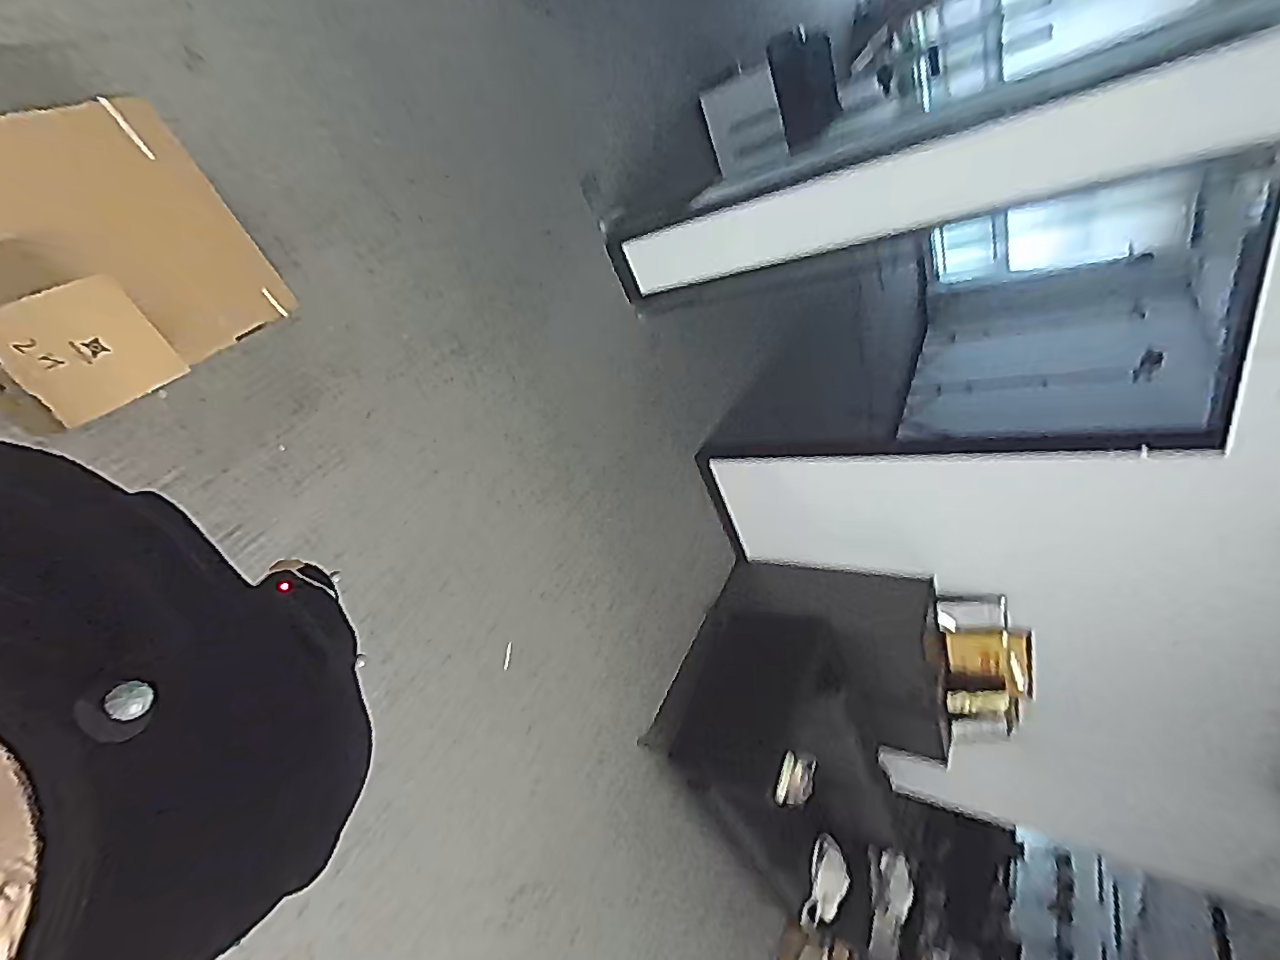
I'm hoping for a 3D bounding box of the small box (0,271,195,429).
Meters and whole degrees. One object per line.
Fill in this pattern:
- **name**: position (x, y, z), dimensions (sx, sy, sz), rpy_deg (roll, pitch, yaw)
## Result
- **small box**: position (-0.846, -0.192, 0.819), dimensions (0.179, 0.176, 0.168), rpy_deg (-53, 131, -39)
